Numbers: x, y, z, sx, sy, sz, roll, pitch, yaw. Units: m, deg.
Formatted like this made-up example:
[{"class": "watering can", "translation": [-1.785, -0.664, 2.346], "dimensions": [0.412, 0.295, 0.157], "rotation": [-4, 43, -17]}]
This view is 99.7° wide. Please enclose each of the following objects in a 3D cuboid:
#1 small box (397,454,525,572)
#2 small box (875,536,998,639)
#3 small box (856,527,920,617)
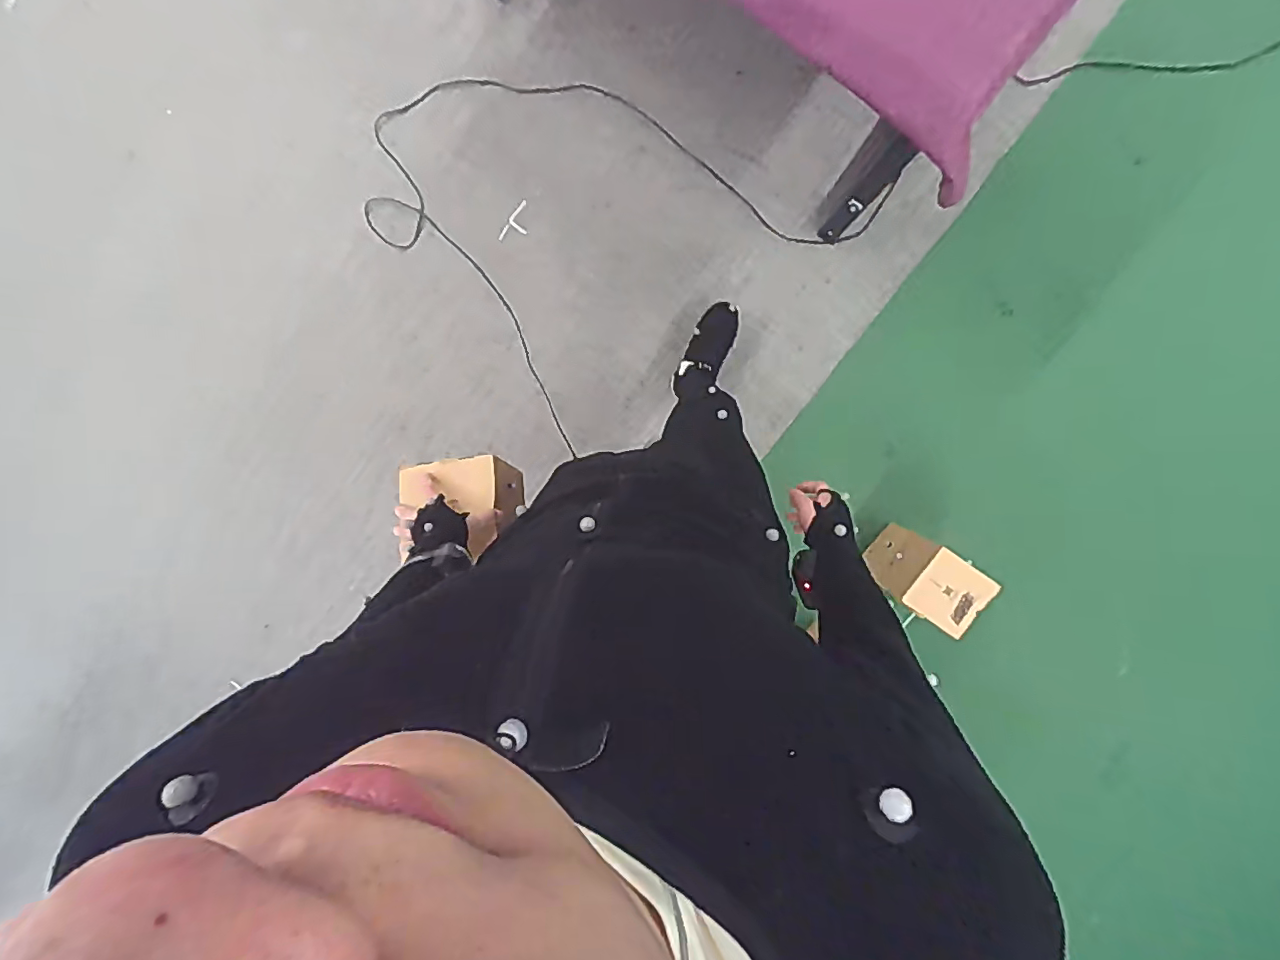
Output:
[{"class": "small box", "translation": [-0.309, 0.066, 0.958], "dimensions": [0.168, 0.176, 0.179], "rotation": [-7, 79, 4]}, {"class": "small box", "translation": [0.739, 0.261, 1.369], "dimensions": [0.179, 0.176, 0.168], "rotation": [35, 98, -1]}, {"class": "small box", "translation": [0.749, 0.250, 1.532], "dimensions": [0.179, 0.176, 0.168], "rotation": [38, 98, -3]}]
